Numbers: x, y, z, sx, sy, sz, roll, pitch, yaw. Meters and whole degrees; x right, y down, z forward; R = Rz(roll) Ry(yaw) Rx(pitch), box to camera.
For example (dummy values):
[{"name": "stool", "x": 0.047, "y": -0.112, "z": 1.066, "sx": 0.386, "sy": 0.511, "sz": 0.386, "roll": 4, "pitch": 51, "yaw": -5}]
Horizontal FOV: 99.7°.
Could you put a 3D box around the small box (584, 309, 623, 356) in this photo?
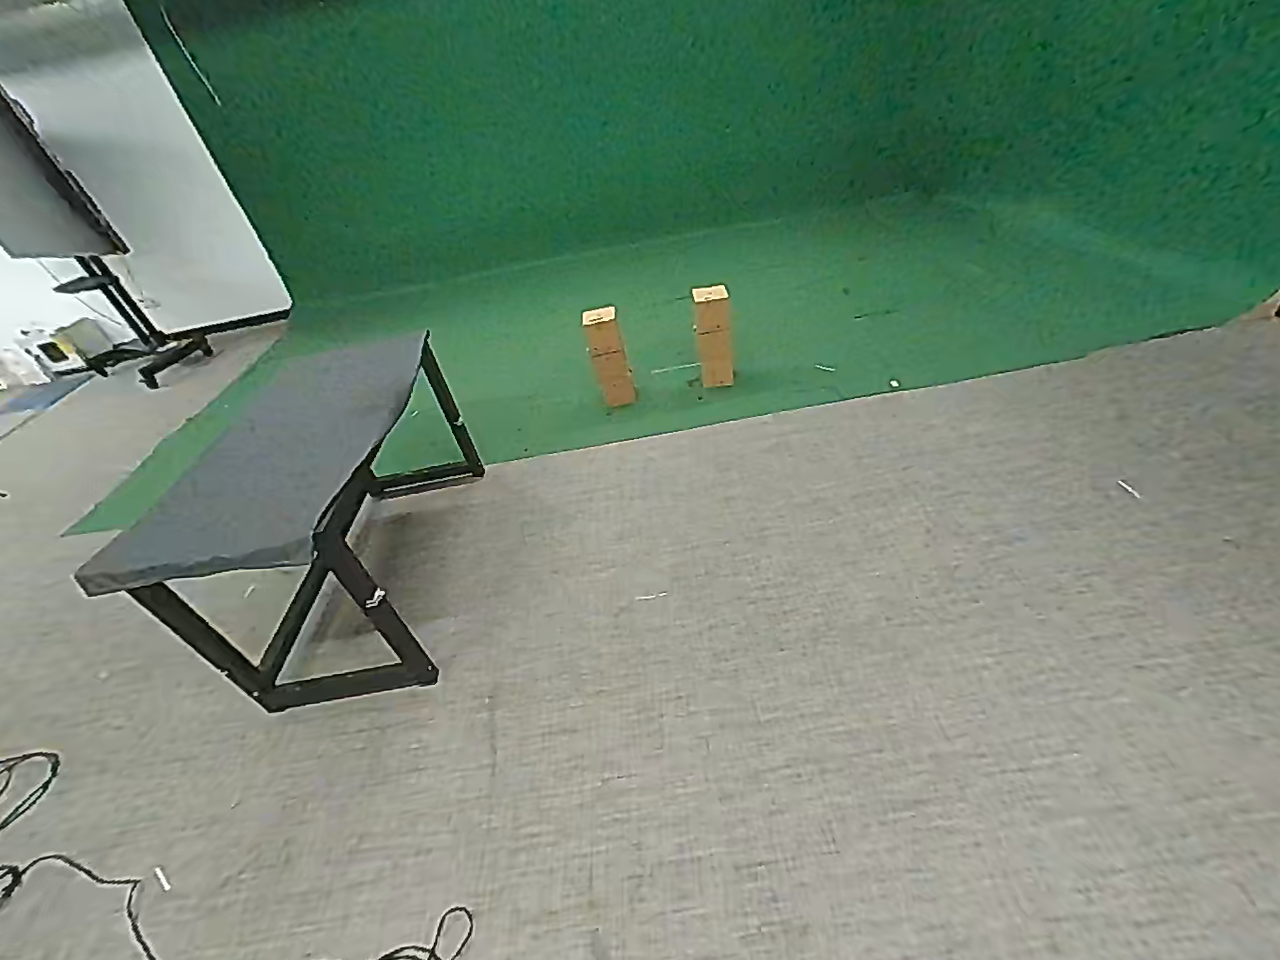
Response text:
[{"name": "small box", "x": -0.185, "y": -0.747, "z": 2.766, "sx": 0.168, "sy": 0.176, "sz": 0.179, "roll": -10, "pitch": 39, "yaw": 4}]

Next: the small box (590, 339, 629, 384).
[{"name": "small box", "x": -0.160, "y": -0.629, "z": 2.878, "sx": 0.179, "sy": 0.176, "sz": 0.168, "roll": -9, "pitch": 40, "yaw": 3}]

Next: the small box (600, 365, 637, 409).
[{"name": "small box", "x": -0.122, "y": -0.508, "z": 2.979, "sx": 0.179, "sy": 0.176, "sz": 0.168, "roll": -10, "pitch": 40, "yaw": 2}]

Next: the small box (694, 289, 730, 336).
[{"name": "small box", "x": 0.366, "y": -0.854, "z": 2.757, "sx": 0.168, "sy": 0.176, "sz": 0.179, "roll": -7, "pitch": 38, "yaw": 4}]

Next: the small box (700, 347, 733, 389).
[{"name": "small box", "x": 0.423, "y": -0.609, "z": 2.969, "sx": 0.168, "sy": 0.176, "sz": 0.179, "roll": -5, "pitch": 39, "yaw": 8}]
